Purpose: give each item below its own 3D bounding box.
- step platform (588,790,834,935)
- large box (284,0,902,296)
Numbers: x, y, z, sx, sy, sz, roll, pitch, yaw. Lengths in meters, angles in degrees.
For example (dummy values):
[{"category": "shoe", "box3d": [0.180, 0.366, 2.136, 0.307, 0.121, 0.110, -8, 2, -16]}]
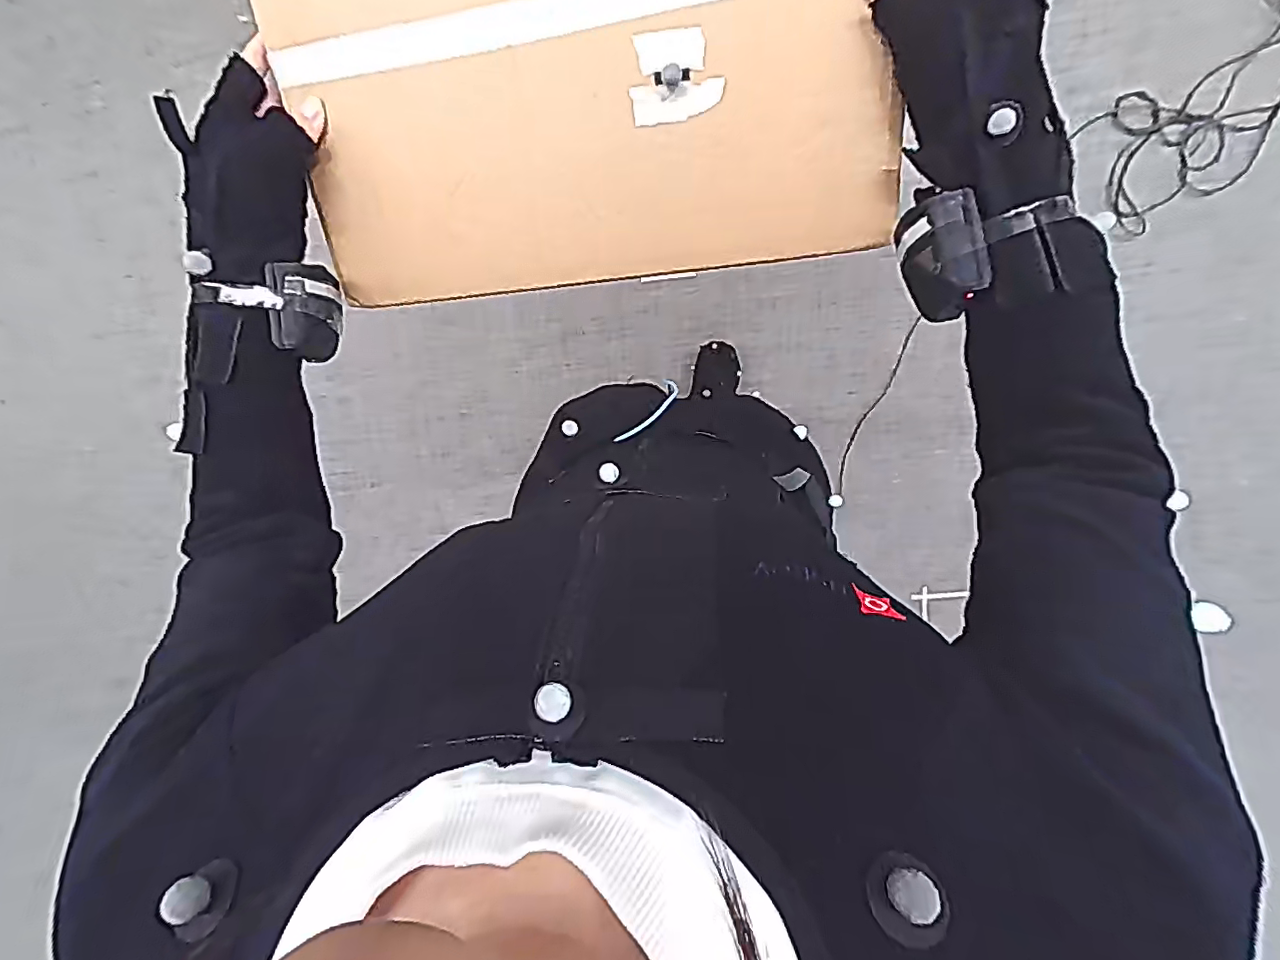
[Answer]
[{"category": "step platform", "box3d": [0.193, 1.085, 1.547, 0.684, 0.204, 0.286, -5, 100, 11]}, {"category": "large box", "box3d": [-0.024, -0.361, 0.480, 0.408, 0.320, 0.320, -4, 113, 10]}]
